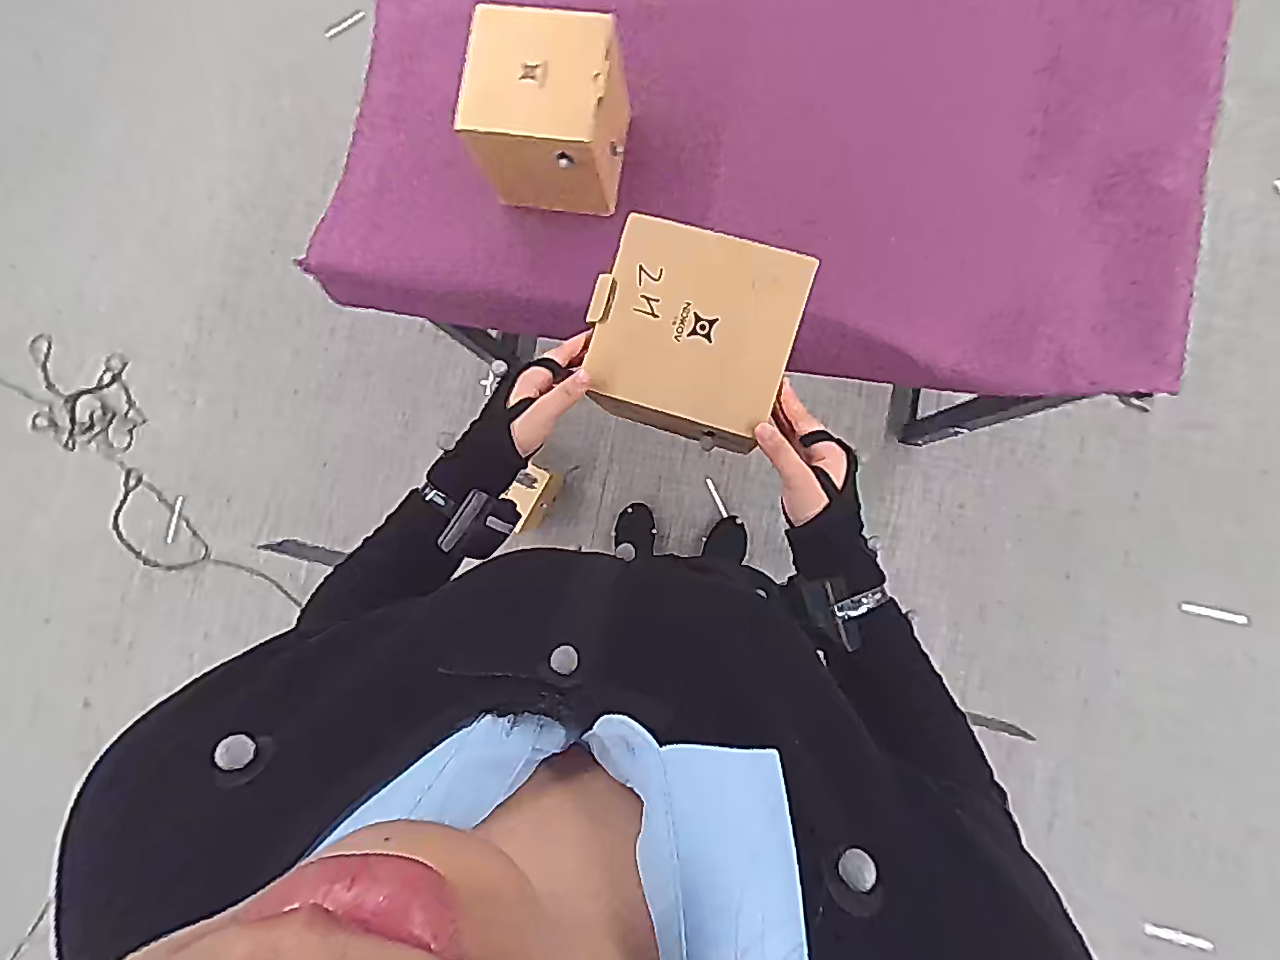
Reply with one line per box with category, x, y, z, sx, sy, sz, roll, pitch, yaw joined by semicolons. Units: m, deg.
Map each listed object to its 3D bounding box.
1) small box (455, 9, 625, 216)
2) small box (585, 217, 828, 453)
small box;-0.125;-0.488;0.741;0.179;0.176;0.168;8;87;5
small box;0.066;-0.130;0.554;0.179;0.176;0.168;19;90;8
